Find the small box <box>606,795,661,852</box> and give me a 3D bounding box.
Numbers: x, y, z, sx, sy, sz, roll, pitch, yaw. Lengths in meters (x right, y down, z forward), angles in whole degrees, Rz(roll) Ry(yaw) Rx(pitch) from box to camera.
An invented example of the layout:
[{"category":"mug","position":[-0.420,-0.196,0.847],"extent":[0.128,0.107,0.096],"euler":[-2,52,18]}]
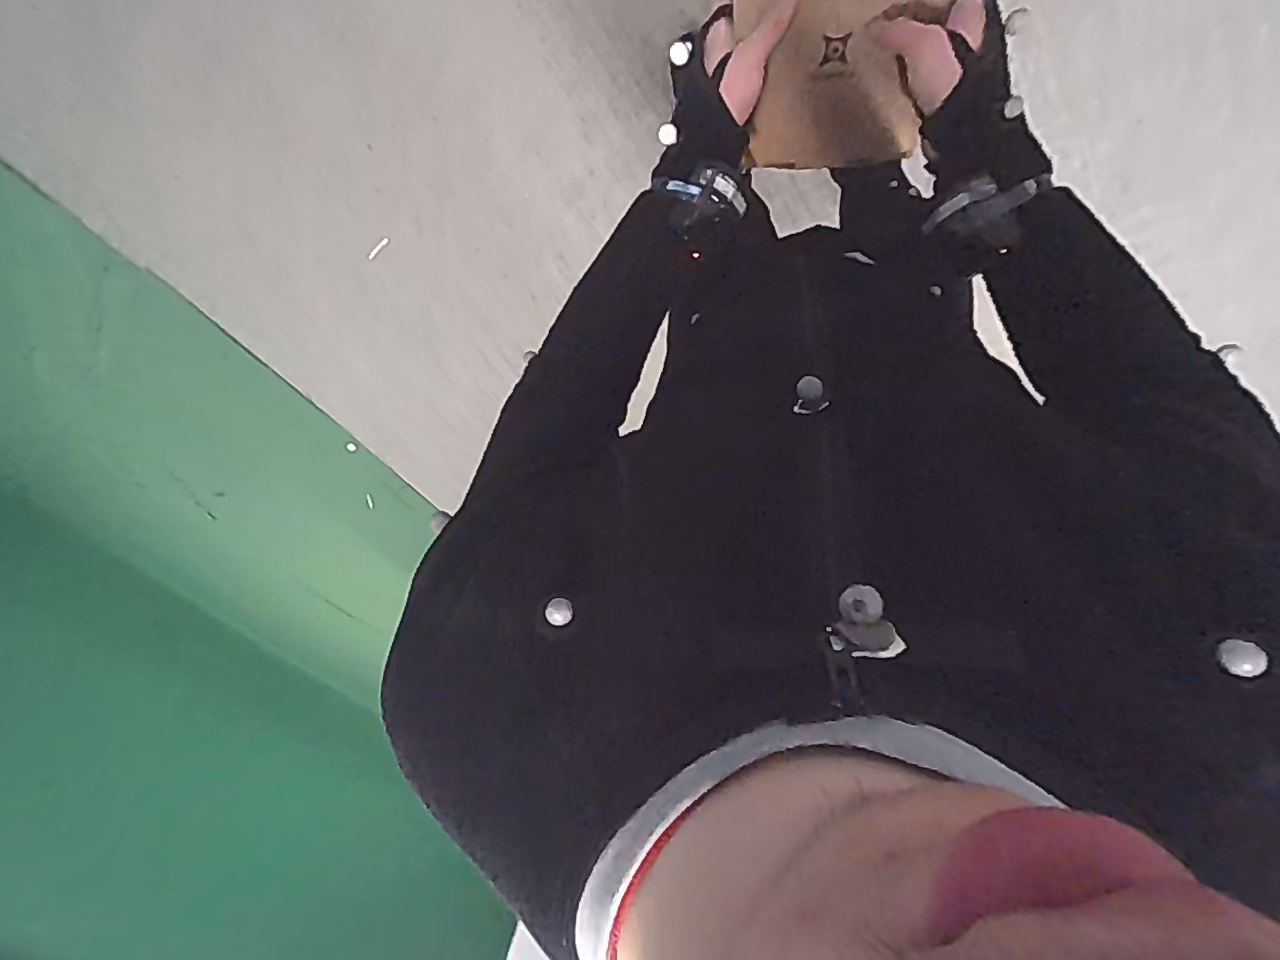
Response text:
[{"category":"small box","position":[-0.022,1.530,2.412],"extent":[0.179,0.176,0.168],"euler":[-21,122,35]}]
